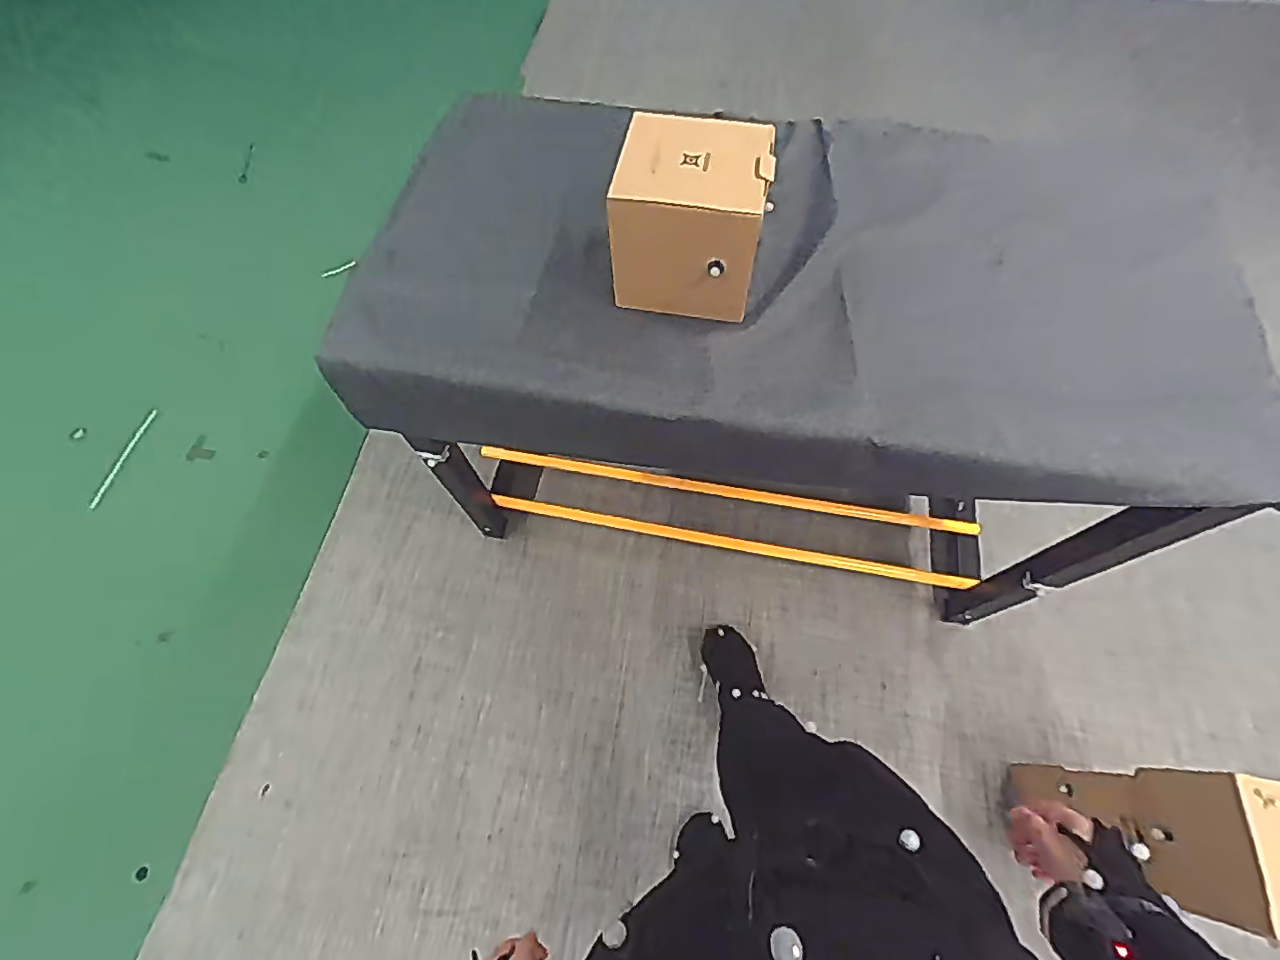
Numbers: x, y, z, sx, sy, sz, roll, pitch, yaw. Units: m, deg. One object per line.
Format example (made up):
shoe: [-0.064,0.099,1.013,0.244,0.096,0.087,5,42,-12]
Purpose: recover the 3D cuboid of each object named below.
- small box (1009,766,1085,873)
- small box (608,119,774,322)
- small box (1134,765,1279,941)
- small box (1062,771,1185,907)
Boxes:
small box: [0.834,0.642,1.009,0.179,0.176,0.168,10,63,6]
small box: [0.065,-0.328,0.702,0.179,0.176,0.168,8,63,6]
small box: [0.818,0.493,0.717,0.168,0.176,0.179,9,65,6]
small box: [0.818,0.571,0.862,0.179,0.176,0.168,8,64,5]
